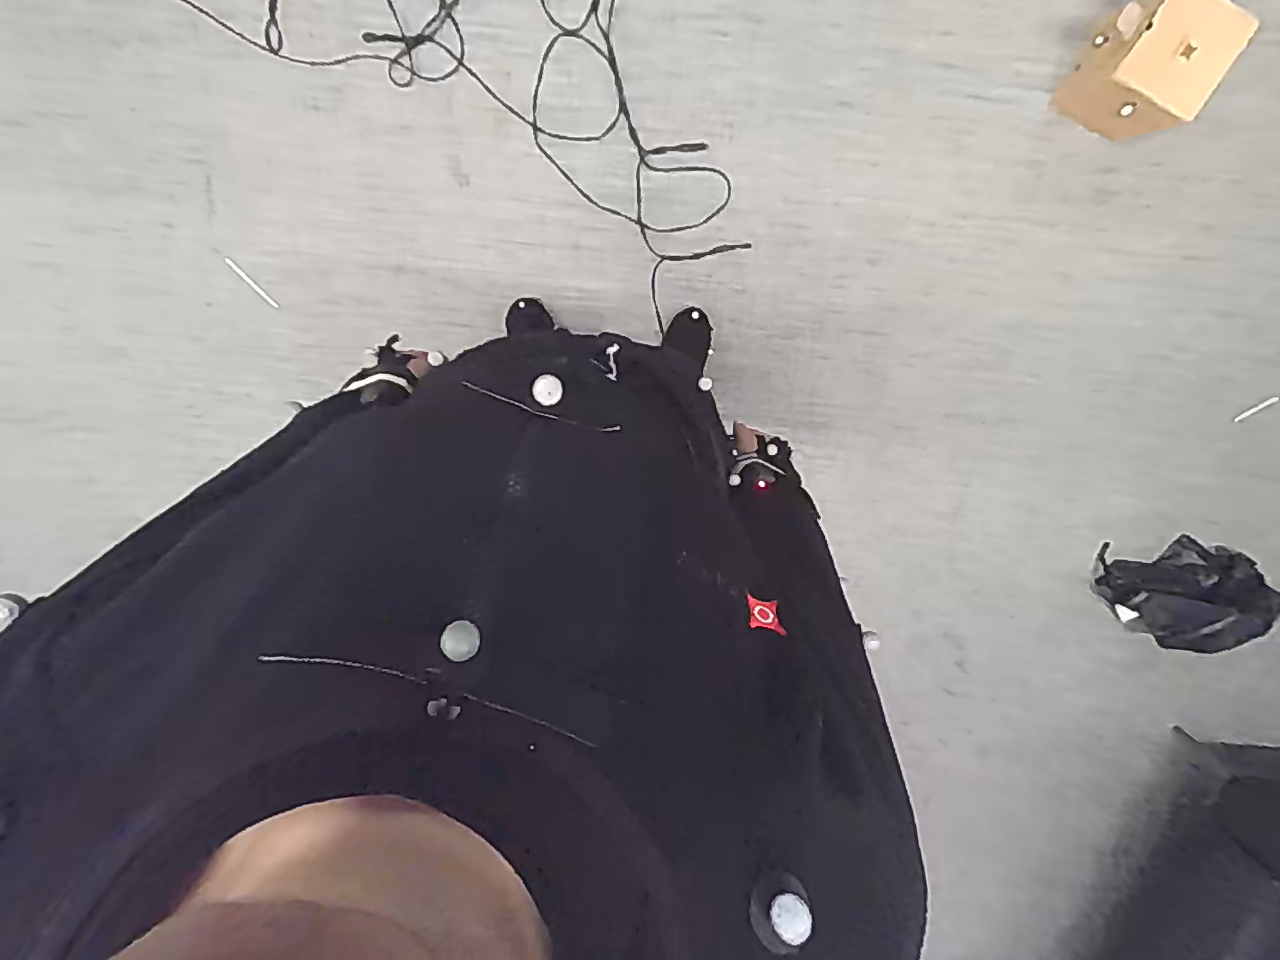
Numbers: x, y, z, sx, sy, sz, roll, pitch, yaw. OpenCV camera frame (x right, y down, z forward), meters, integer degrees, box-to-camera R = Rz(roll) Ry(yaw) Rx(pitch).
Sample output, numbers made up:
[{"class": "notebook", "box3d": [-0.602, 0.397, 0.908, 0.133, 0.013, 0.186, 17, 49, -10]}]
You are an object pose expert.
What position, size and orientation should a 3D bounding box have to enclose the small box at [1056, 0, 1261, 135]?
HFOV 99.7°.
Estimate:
[{"class": "small box", "box3d": [0.946, -0.775, 1.007, 0.179, 0.176, 0.168, 24, 109, -7]}]
